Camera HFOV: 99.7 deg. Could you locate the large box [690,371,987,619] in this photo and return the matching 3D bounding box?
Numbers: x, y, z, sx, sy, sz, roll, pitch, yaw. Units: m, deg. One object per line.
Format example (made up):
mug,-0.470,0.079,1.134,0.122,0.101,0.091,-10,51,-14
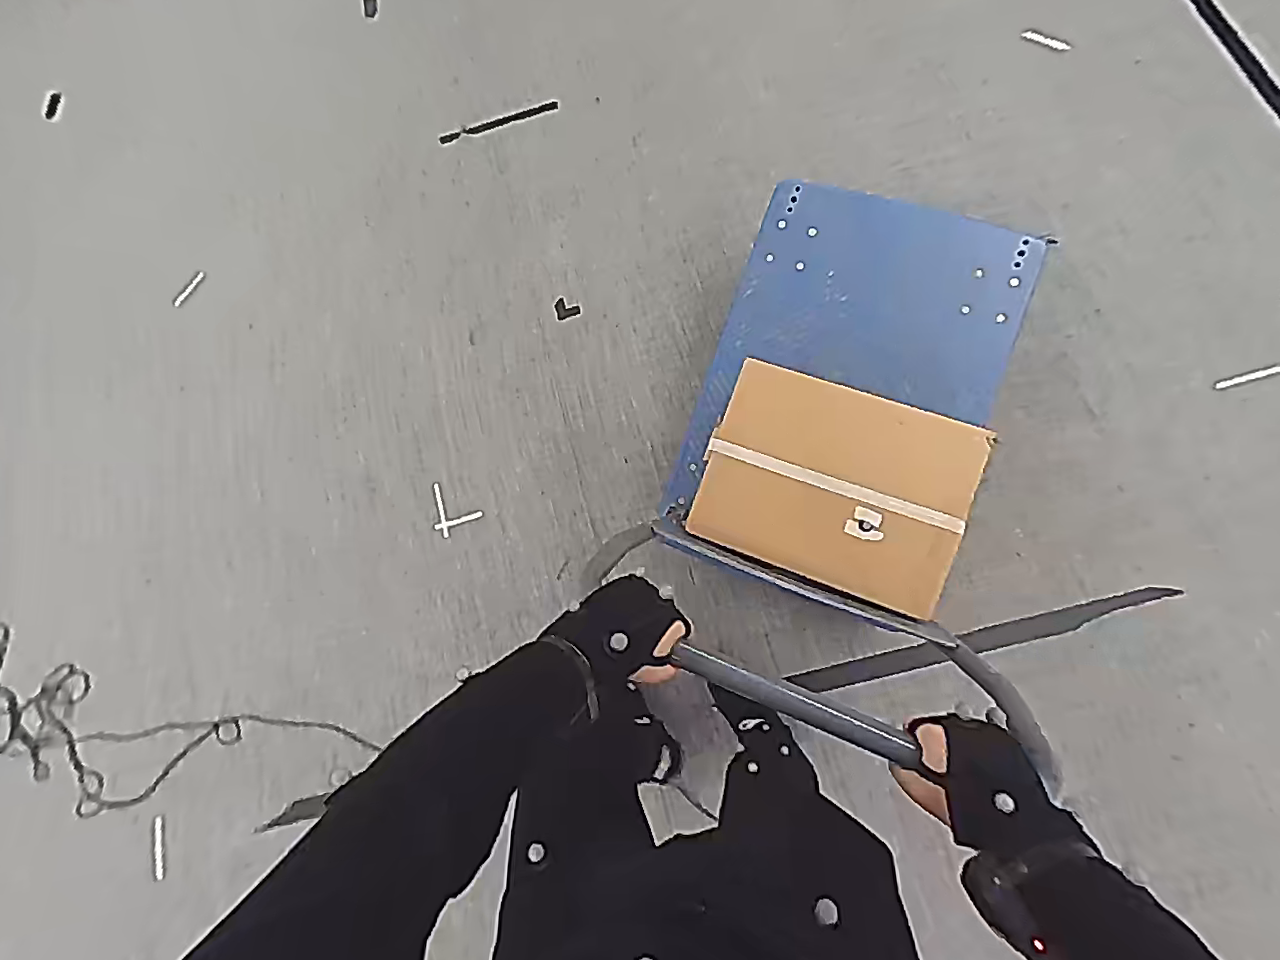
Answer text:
large box,0.340,0.025,1.033,0.408,0.320,0.320,20,91,11
